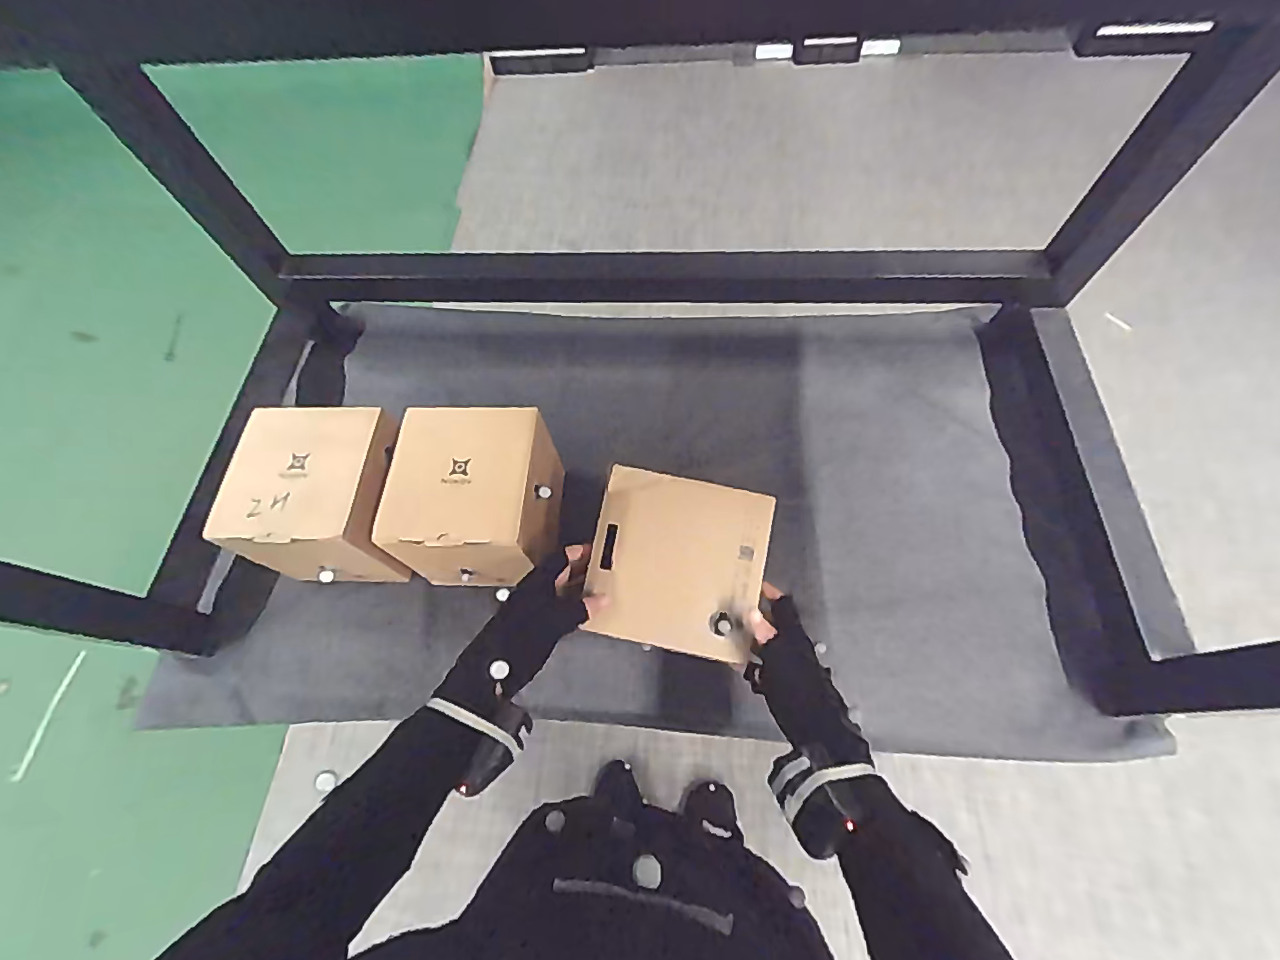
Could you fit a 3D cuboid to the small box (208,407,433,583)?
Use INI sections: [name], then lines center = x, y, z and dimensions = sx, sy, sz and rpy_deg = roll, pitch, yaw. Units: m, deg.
[small box]
center = -0.391, 0.024, 0.701
dimensions = 0.168, 0.176, 0.179
rpy_deg = 0, 63, 5
